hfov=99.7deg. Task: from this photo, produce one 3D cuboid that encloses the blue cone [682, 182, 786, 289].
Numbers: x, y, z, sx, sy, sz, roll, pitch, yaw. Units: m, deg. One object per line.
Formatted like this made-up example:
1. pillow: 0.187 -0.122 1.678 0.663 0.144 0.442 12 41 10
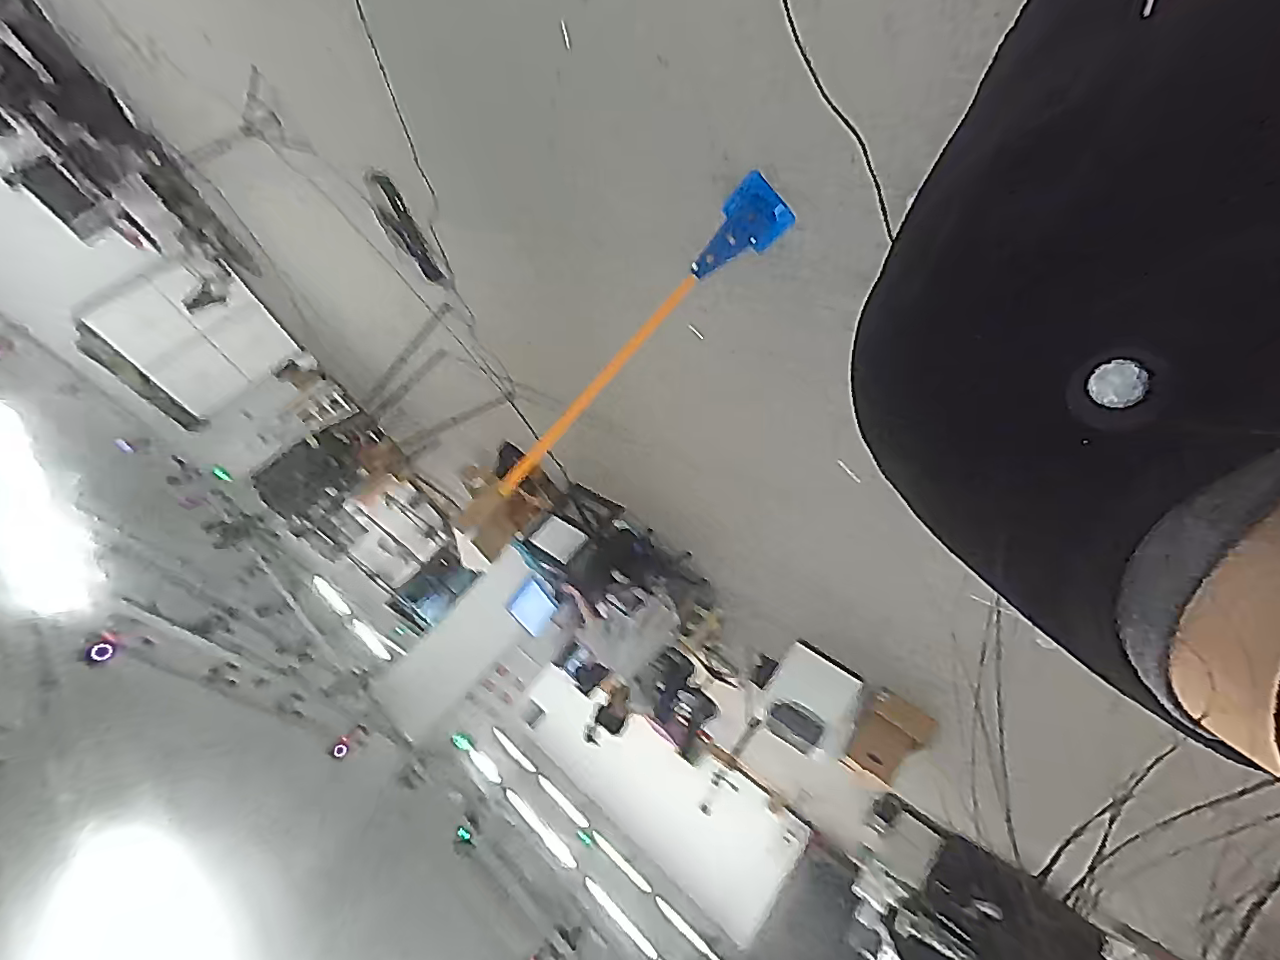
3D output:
1. blue cone: 0.260 -0.705 1.658 0.192 0.380 0.193 44 160 -9
